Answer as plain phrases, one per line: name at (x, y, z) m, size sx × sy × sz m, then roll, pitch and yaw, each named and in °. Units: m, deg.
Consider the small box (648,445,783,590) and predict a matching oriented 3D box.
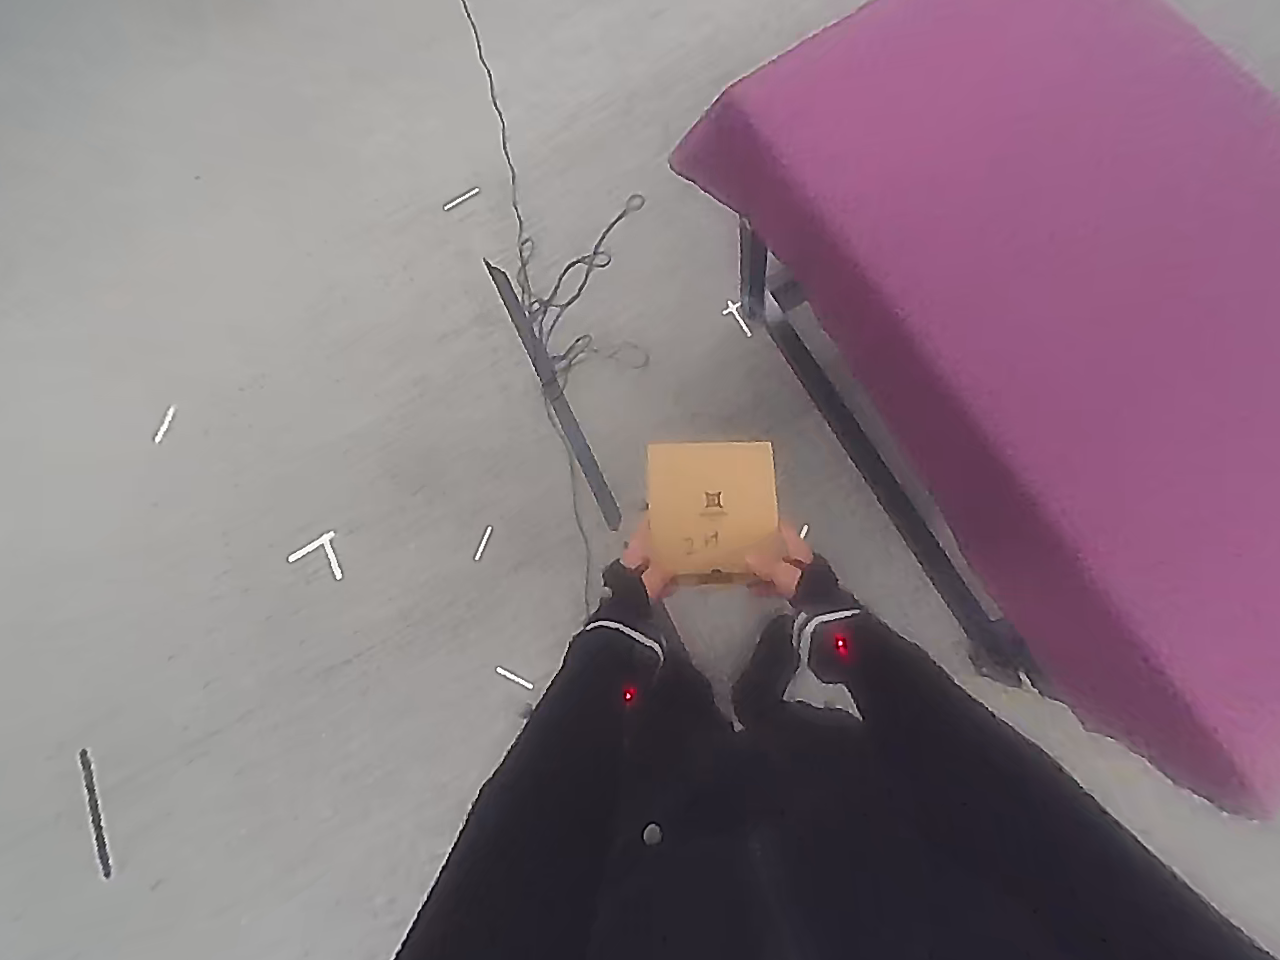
small box at (0.096, 0.061, 0.768) m, size 0.168 × 0.176 × 0.179 m, roll -1°, pitch 74°, yaw 0°
